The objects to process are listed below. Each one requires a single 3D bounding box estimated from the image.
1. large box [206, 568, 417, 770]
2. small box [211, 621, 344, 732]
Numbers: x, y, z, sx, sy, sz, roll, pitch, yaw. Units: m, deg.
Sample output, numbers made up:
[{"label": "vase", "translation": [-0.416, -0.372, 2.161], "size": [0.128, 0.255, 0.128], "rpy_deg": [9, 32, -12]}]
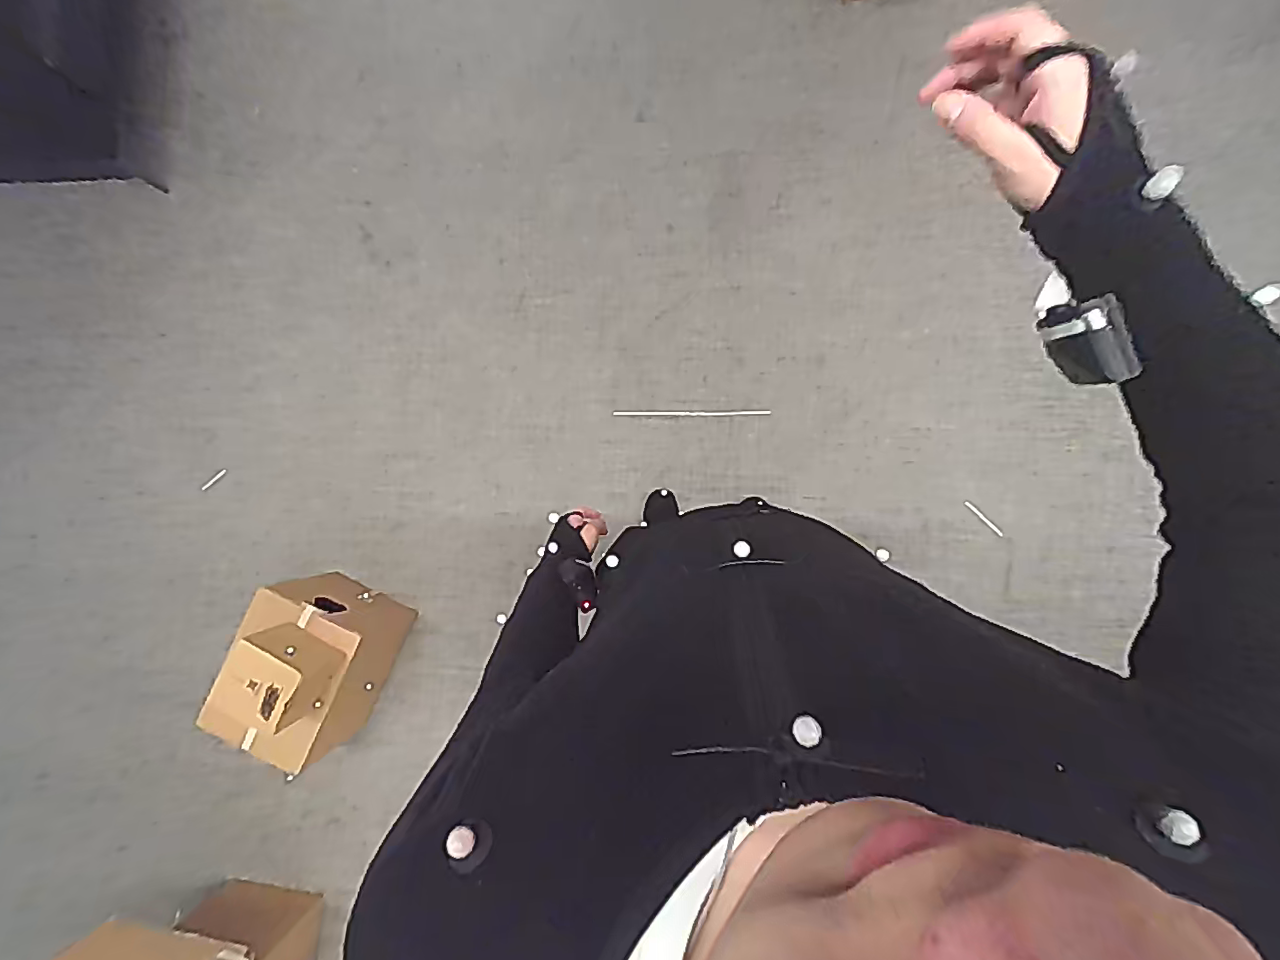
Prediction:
[{"label": "large box", "translation": [-0.915, 0.512, 1.554], "size": [0.320, 0.320, 0.408], "rpy_deg": [24, 90, 5]}, {"label": "small box", "translation": [-0.862, 0.463, 1.305], "size": [0.179, 0.176, 0.168], "rpy_deg": [28, 90, 3]}]
